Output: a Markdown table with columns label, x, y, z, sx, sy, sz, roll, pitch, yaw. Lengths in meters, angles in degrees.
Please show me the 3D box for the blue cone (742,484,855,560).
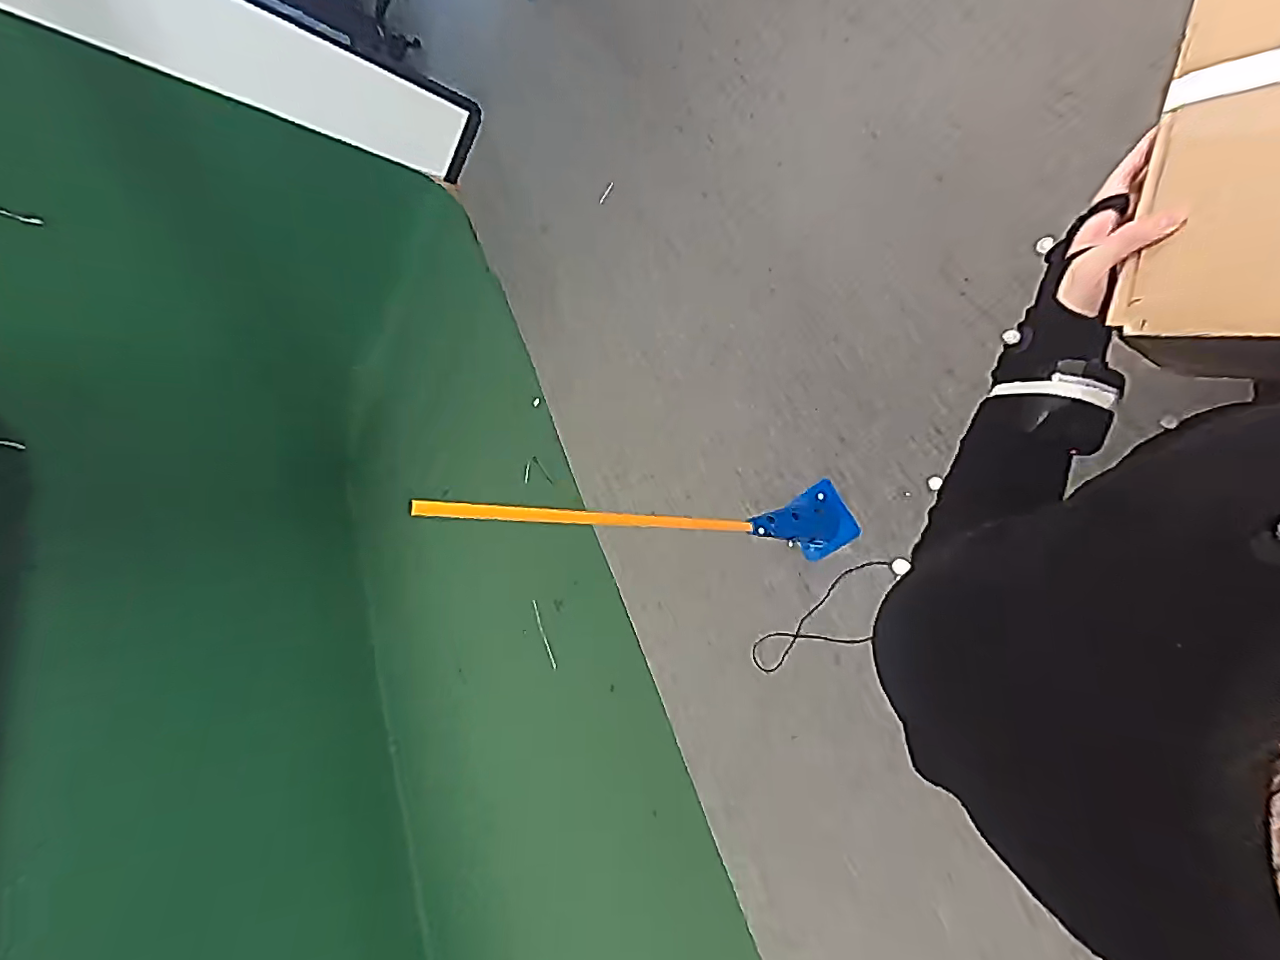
| label | x | y | z | sx | sy | sz | roll | pitch | yaw |
| --- | --- | --- | --- | --- | --- | --- | --- | --- | --- |
| blue cone | 0.408 | 0.123 | 1.516 | 0.192 | 0.380 | 0.193 | -46 | 56 | 36 |
